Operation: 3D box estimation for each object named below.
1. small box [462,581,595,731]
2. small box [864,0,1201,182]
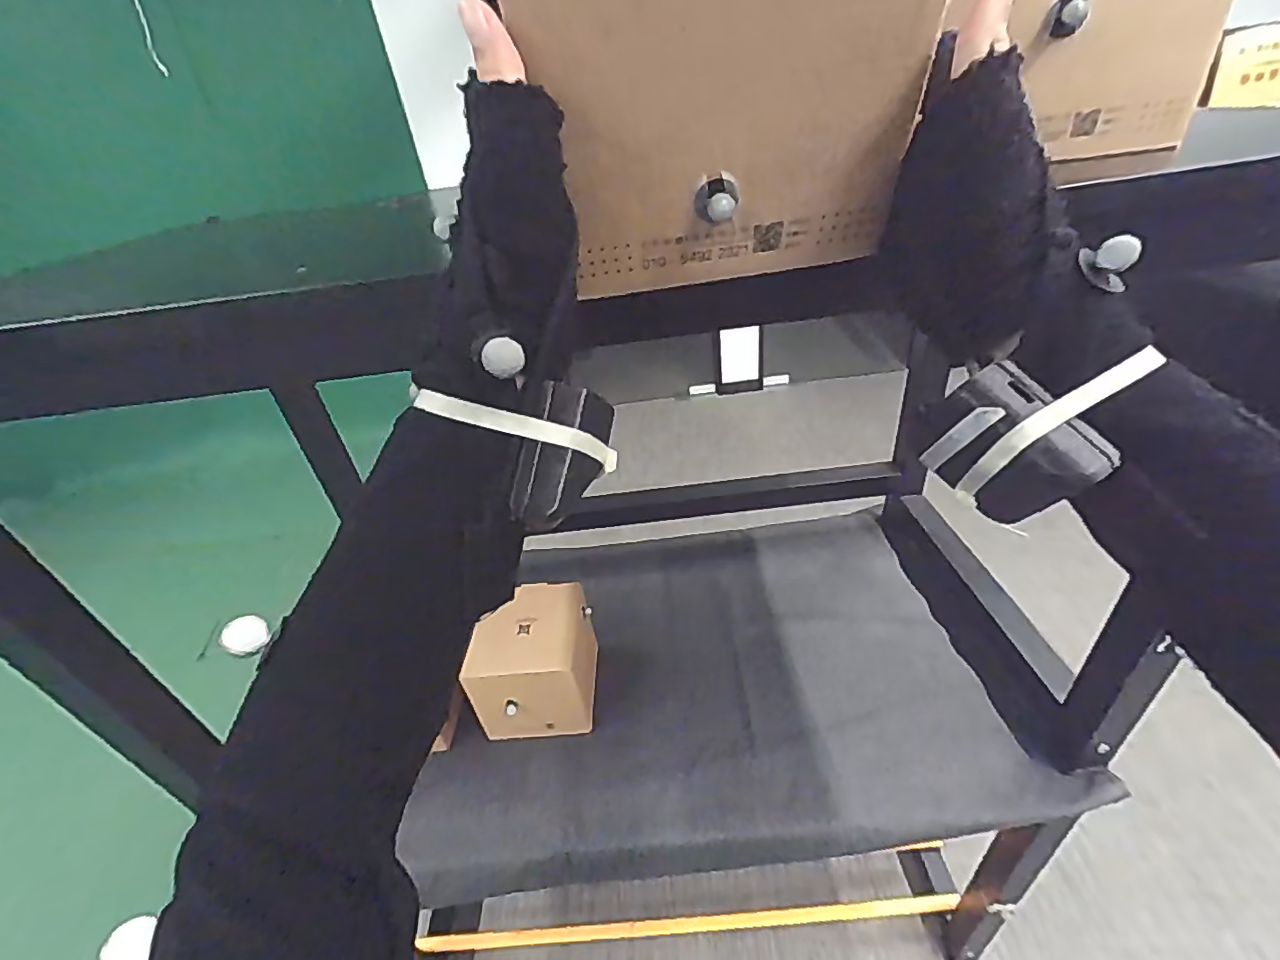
[{"bbox_3d":[-0.170,0.293,0.891,0.168,0.176,0.179,-6,33,3],"label":"small box"},{"bbox_3d":[0.273,-0.330,0.403,0.168,0.176,0.179,0,34,12],"label":"small box"}]
